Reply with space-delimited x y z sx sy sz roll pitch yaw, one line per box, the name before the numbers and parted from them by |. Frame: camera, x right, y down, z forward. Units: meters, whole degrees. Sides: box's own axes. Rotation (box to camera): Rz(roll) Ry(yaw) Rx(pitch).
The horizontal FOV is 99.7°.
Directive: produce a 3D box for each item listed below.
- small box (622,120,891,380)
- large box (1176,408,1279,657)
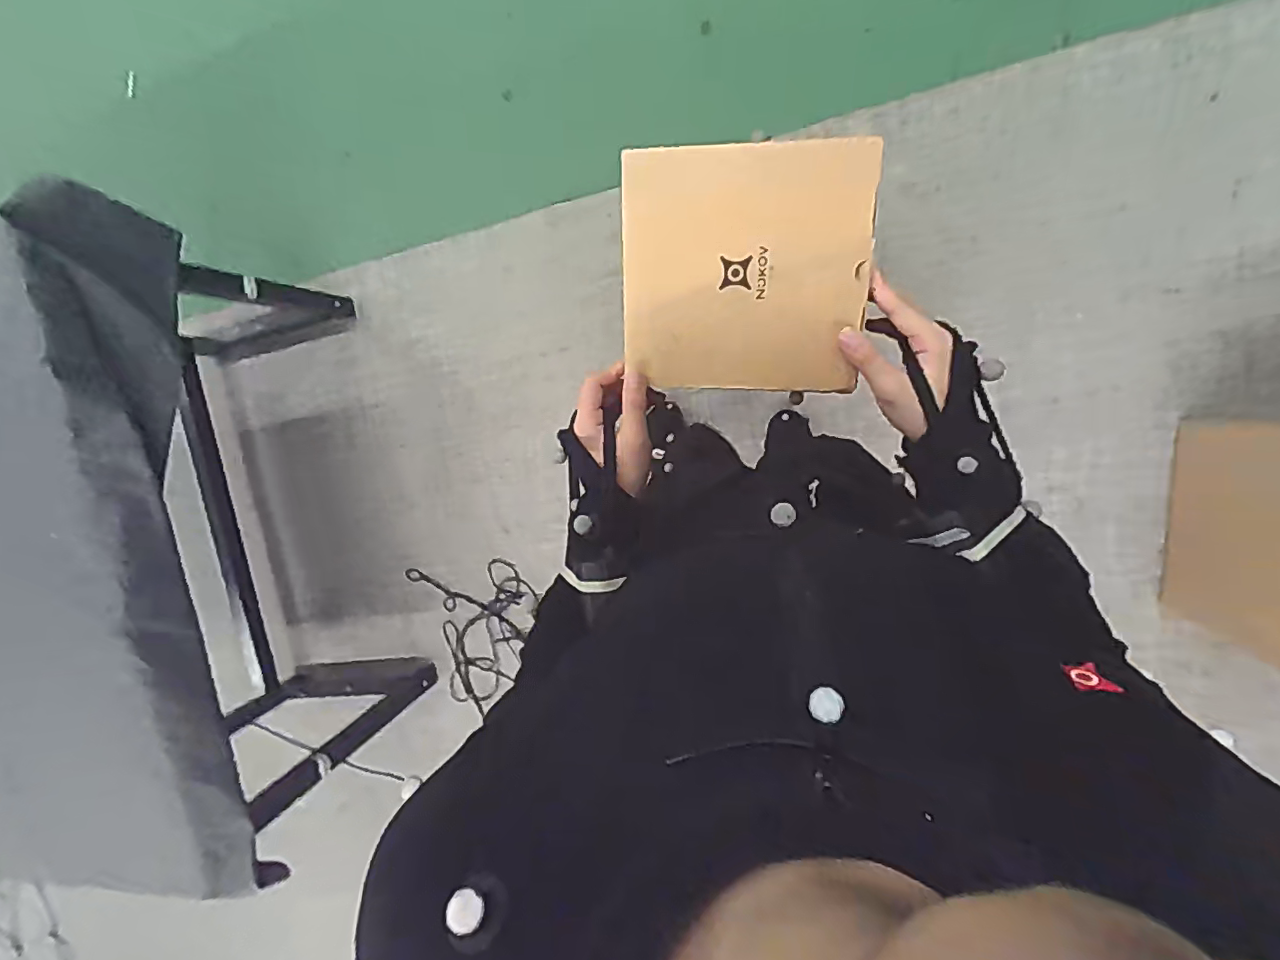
small box | 0.089 -0.177 0.454 0.179 0.176 0.168 3 108 10
large box | 1.216 0.079 0.928 0.320 0.320 0.408 -2 100 17
